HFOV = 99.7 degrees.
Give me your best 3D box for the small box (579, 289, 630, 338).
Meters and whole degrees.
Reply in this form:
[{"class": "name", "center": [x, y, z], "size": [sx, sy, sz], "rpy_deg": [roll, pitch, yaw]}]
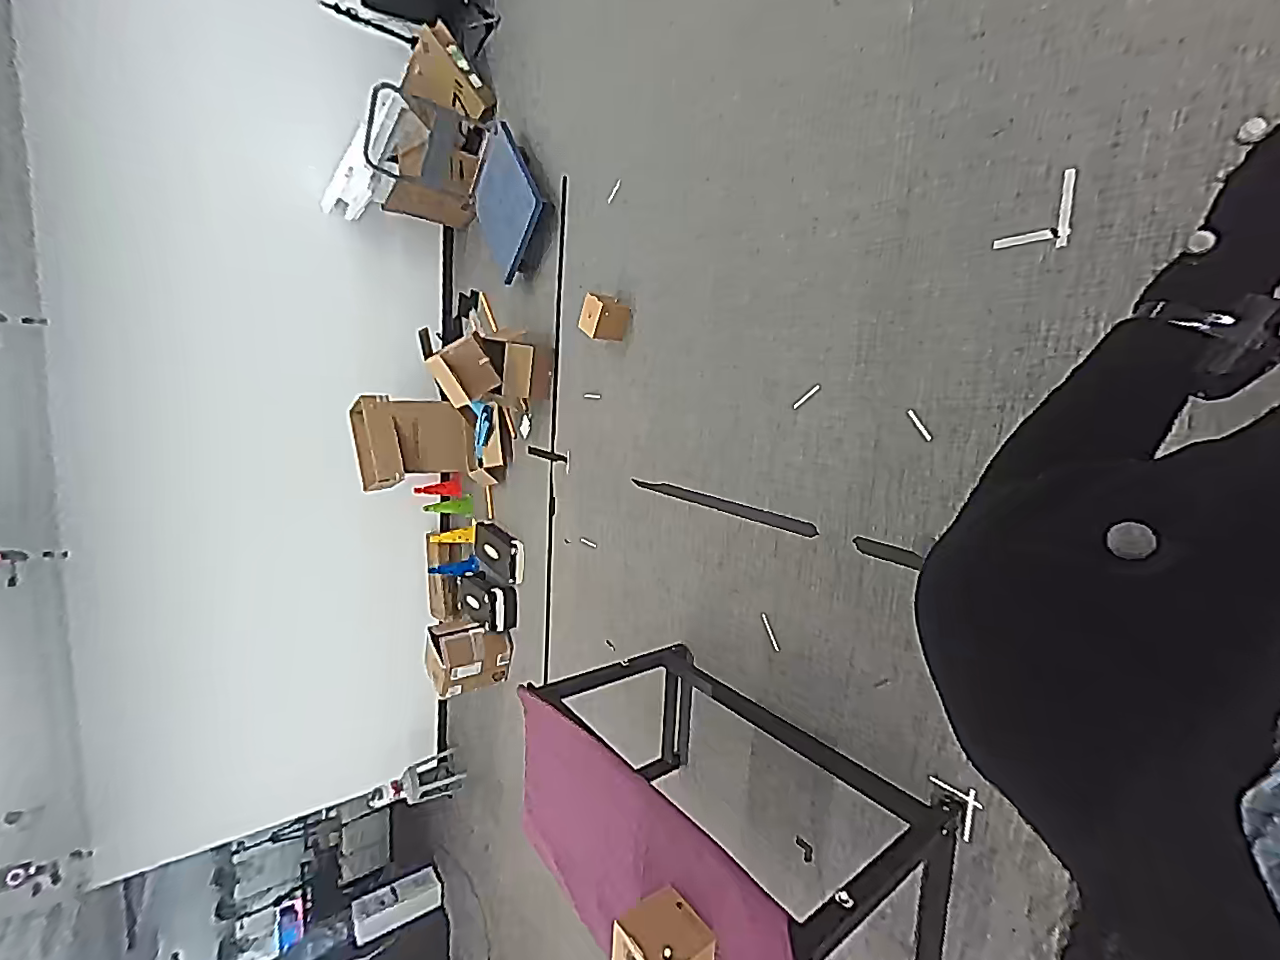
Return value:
[{"class": "small box", "center": [-0.170, -0.805, 2.630], "size": [0.168, 0.176, 0.179], "rpy_deg": [48, 128, 41]}]
